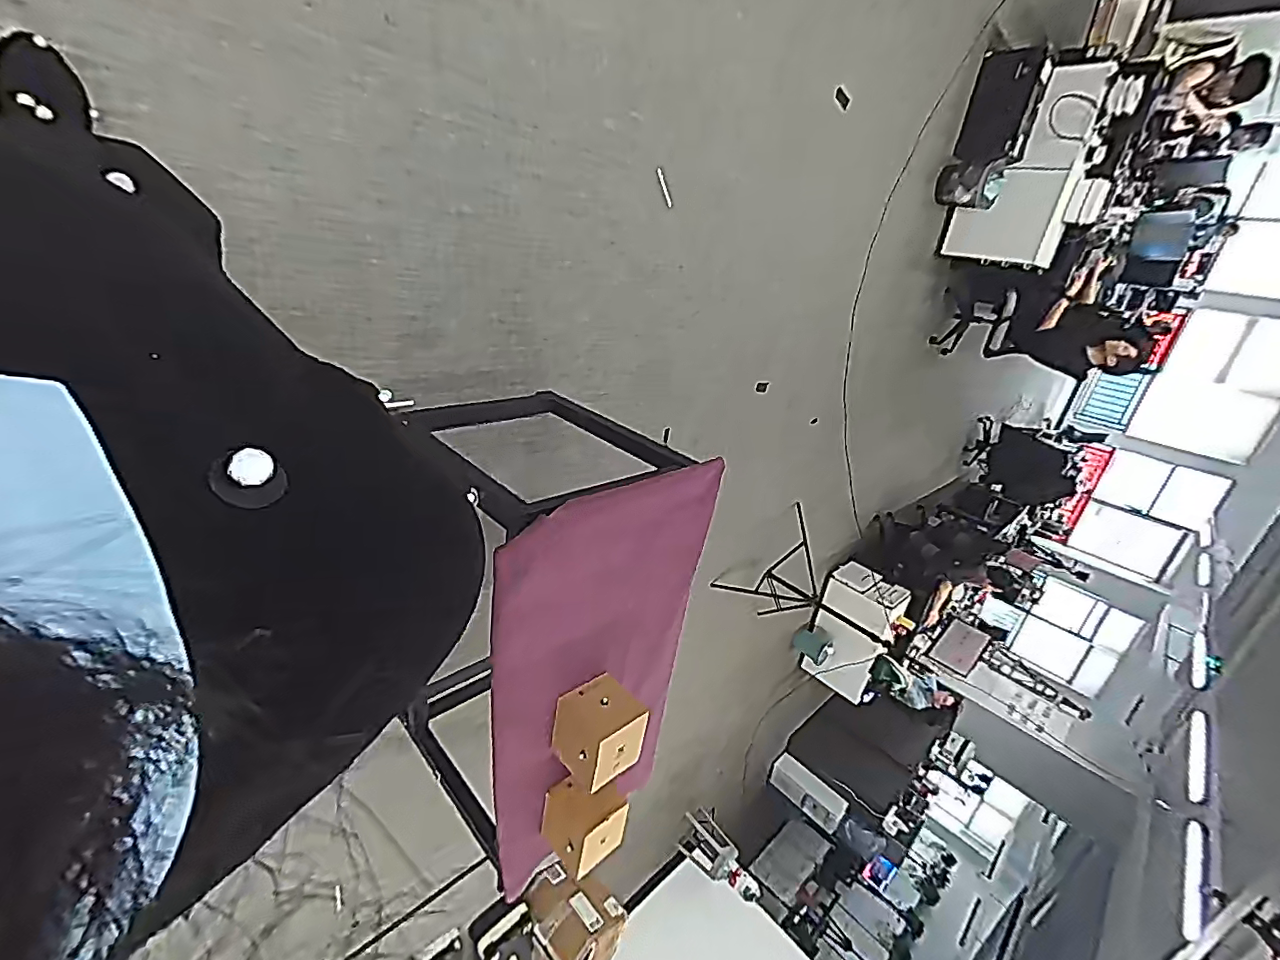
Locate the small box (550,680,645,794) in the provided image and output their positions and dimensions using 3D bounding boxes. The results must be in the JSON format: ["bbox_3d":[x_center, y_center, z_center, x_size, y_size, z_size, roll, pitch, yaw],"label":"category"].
[{"bbox_3d":[-0.113,0.639,1.376,0.168,0.176,0.179,-11,121,-44],"label":"small box"}]

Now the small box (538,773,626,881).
[{"bbox_3d":[-0.166,0.945,1.505,0.168,0.176,0.179,-12,120,-45],"label":"small box"}]
